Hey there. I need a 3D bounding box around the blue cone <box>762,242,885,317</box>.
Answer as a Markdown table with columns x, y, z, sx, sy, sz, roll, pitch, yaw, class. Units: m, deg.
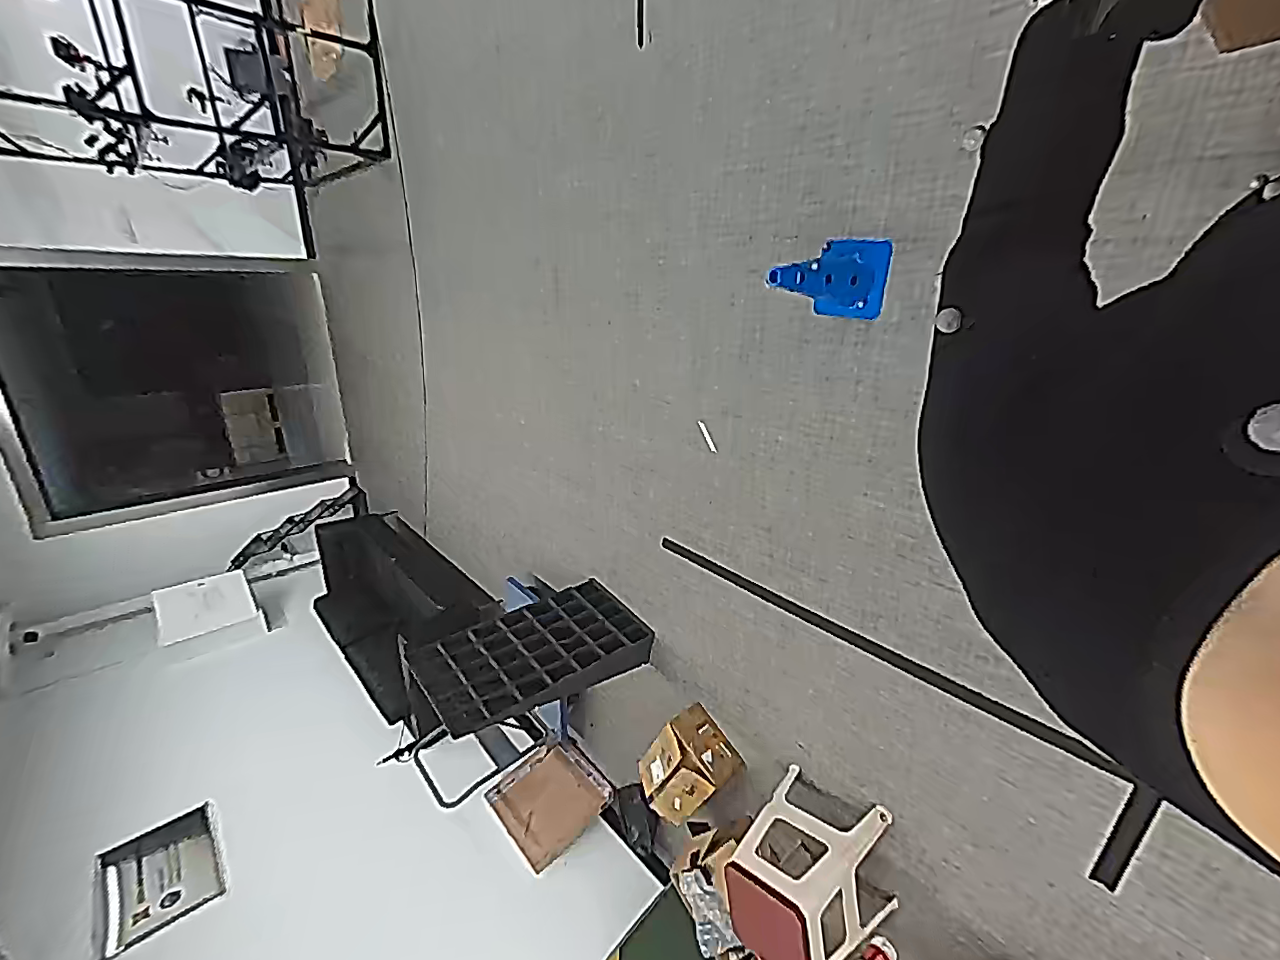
| x | y | z | sx | sy | sz | roll | pitch | yaw | class |
| --- | --- | --- | --- | --- | --- | --- | --- | --- | --- |
| 0.449 | -0.515 | 1.386 | 0.192 | 0.380 | 0.193 | 27 | 122 | 43 | blue cone |
